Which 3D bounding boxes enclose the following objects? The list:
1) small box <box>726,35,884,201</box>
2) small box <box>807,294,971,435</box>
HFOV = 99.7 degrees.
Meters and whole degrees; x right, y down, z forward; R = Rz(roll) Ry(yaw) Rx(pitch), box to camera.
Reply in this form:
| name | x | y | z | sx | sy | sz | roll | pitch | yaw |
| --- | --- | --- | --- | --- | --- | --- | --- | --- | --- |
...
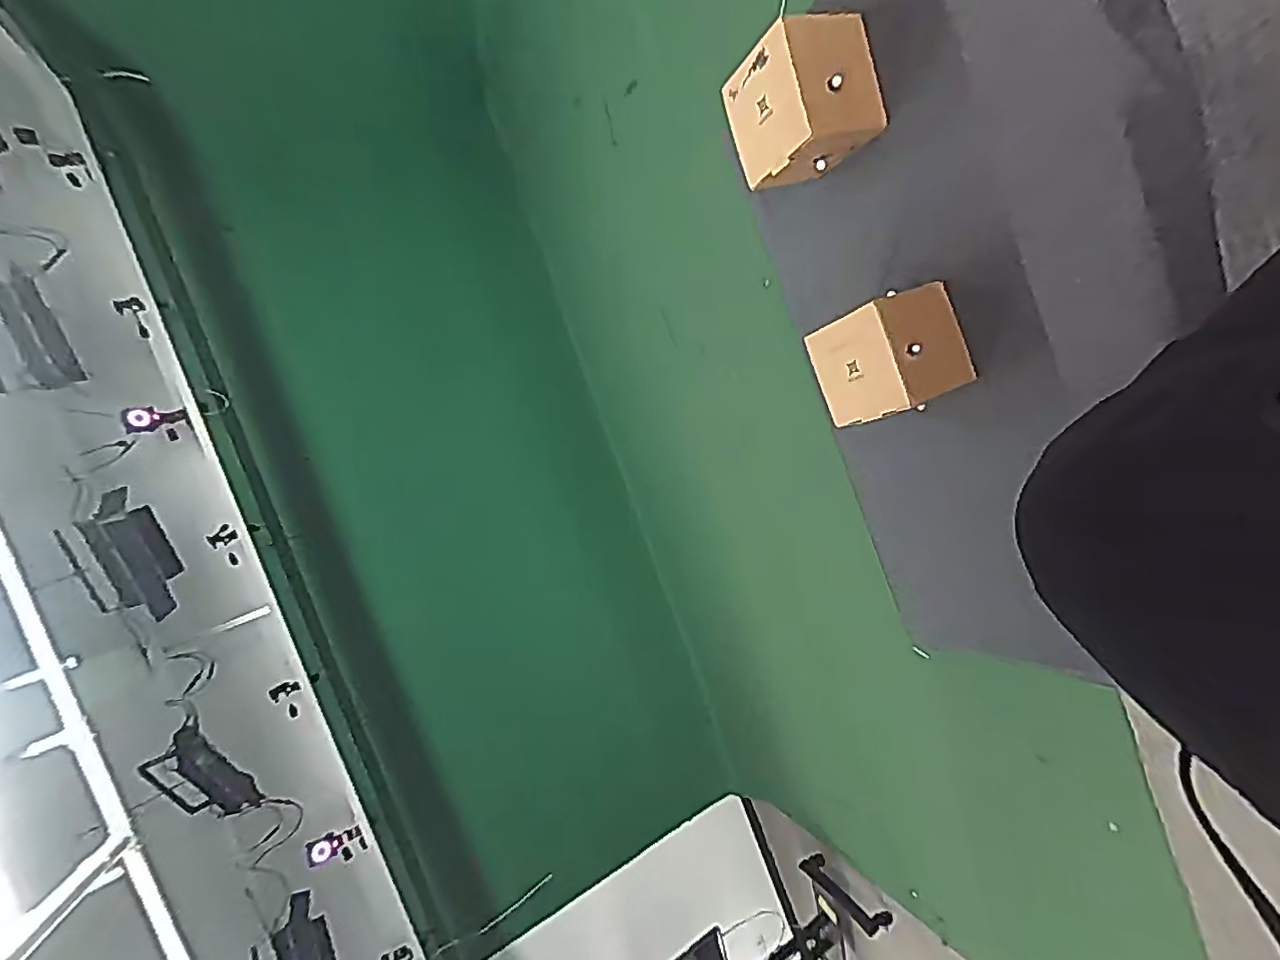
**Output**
| name | x | y | z | sx | sy | sz | roll | pitch | yaw |
| --- | --- | --- | --- | --- | --- | --- | --- | --- | --- |
| small box | 0.278 | -0.605 | 0.910 | 0.168 | 0.176 | 0.179 | -2 | 108 | 66 |
| small box | 0.429 | -0.196 | 0.934 | 0.168 | 0.176 | 0.179 | -18 | 92 | 67 |
